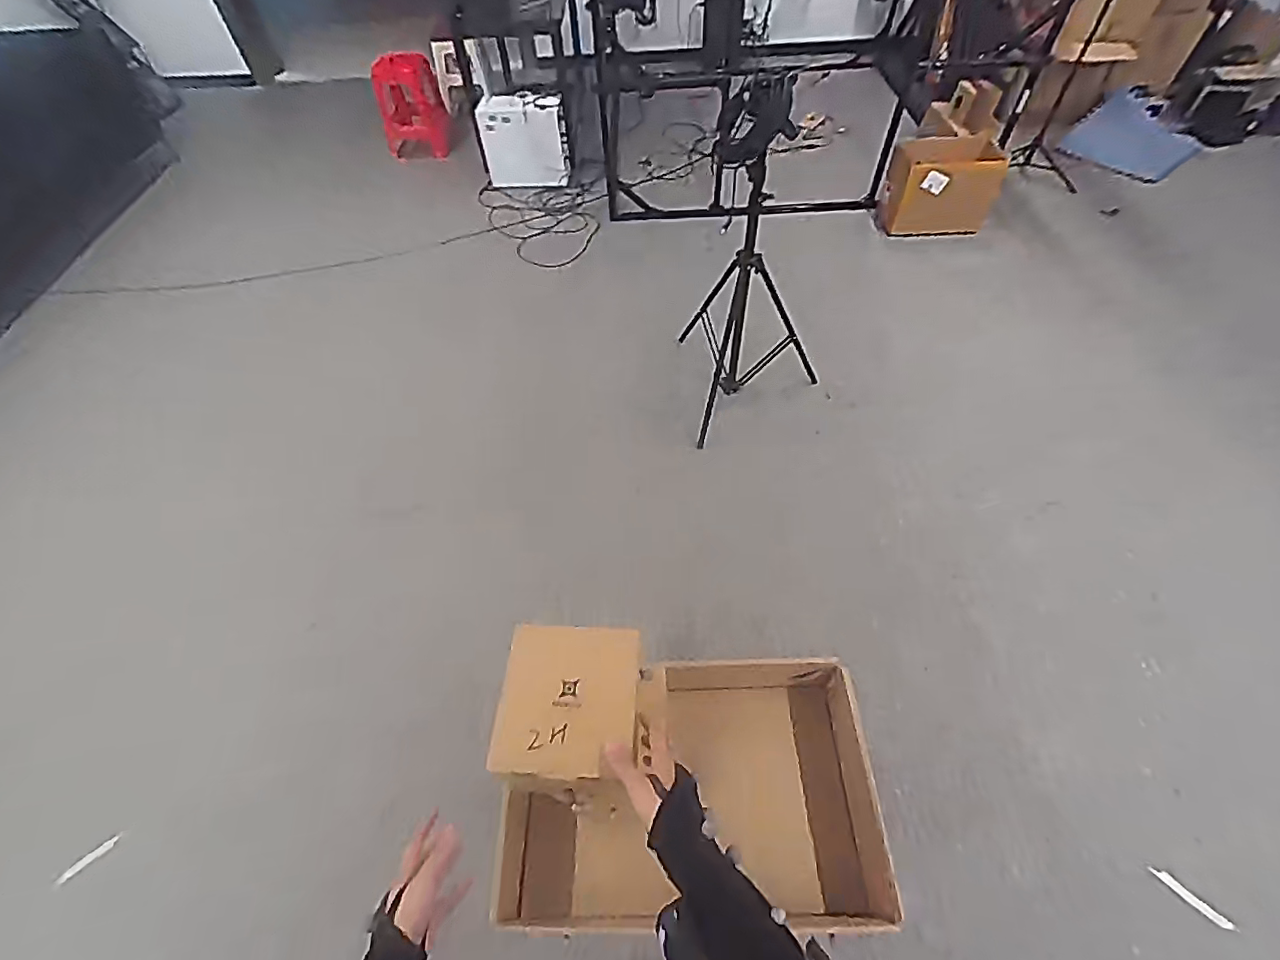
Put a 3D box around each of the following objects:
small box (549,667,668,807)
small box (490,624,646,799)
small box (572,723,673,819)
[{"bbox_3d":[-0.042,0.405,0.851,0.168,0.176,0.179,1,54,4],"label":"small box"},{"bbox_3d":[-0.081,0.310,0.719,0.168,0.176,0.179,2,55,5],"label":"small box"},{"bbox_3d":[-0.029,0.503,0.983,0.168,0.176,0.179,-4,53,0],"label":"small box"}]
